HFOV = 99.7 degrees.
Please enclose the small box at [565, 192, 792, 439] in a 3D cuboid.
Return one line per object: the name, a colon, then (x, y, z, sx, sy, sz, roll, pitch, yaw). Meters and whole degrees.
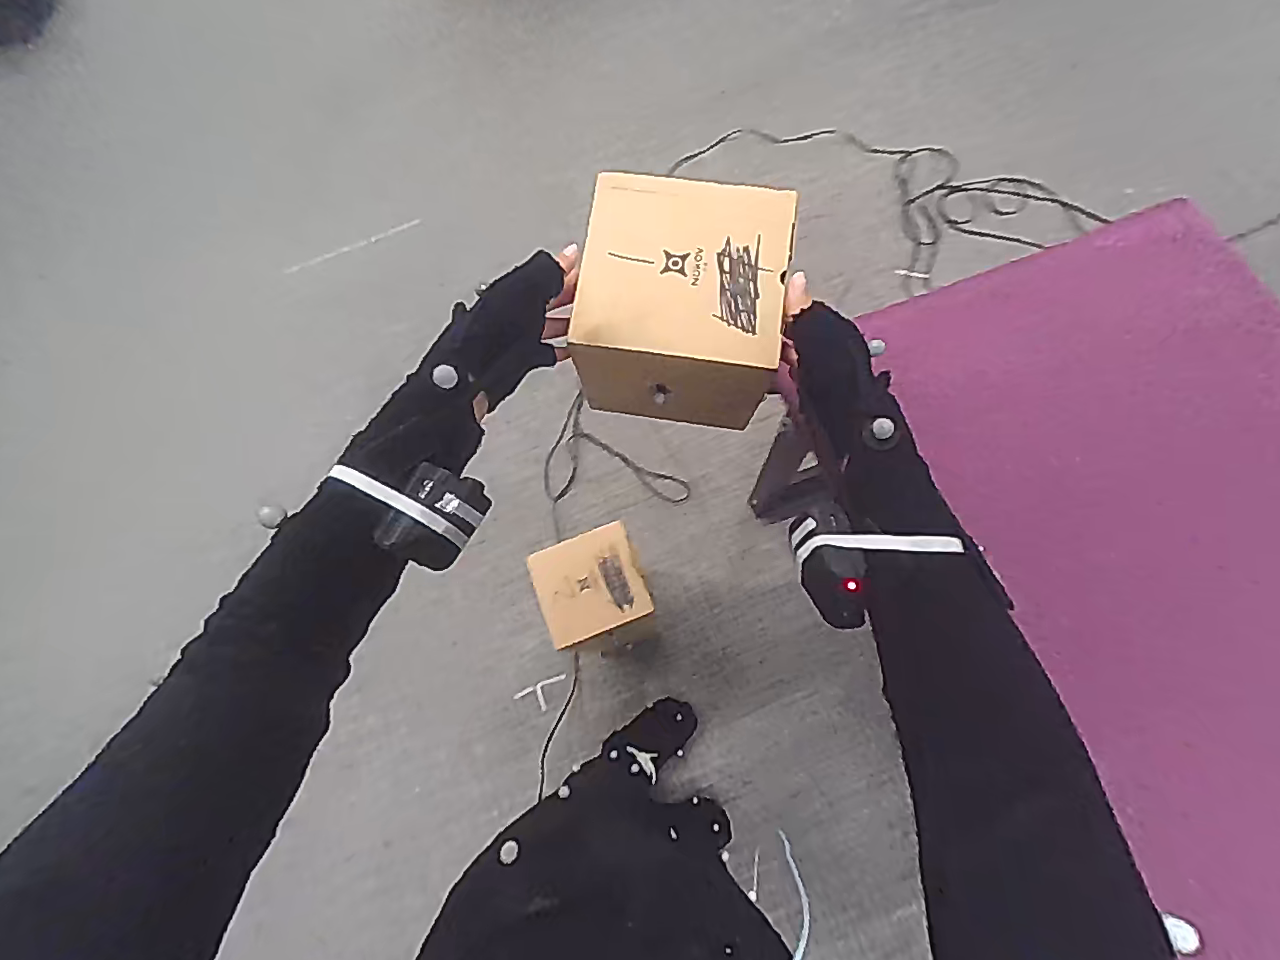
small box: (0.037, -0.148, 0.540, 0.179, 0.176, 0.168, 9, 78, 3)
